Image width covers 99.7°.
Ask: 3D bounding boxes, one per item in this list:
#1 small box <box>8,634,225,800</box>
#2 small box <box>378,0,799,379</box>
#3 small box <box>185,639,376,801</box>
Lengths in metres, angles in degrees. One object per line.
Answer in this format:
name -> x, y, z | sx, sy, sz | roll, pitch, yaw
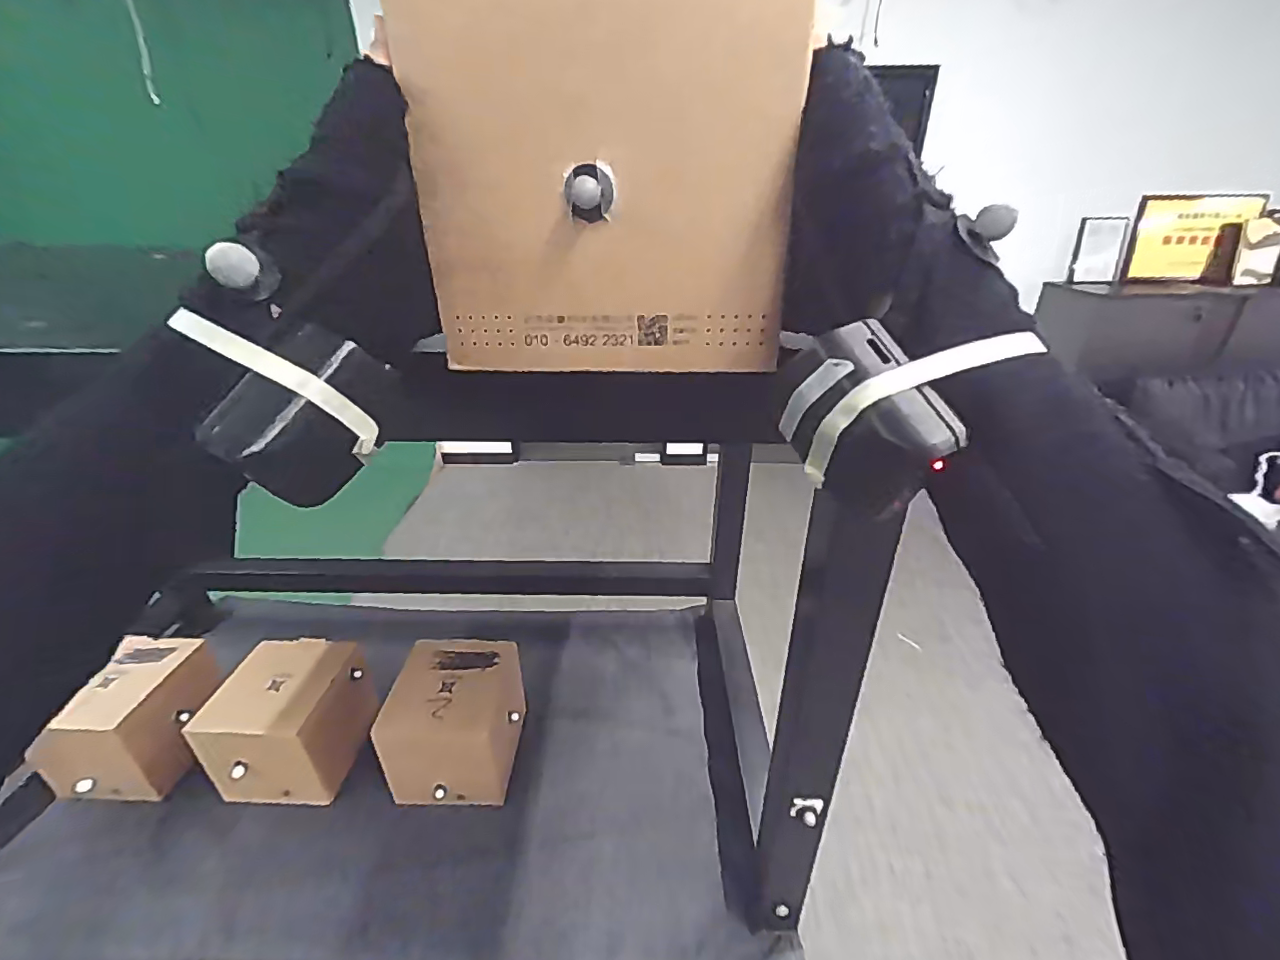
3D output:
small box -> -0.798, 0.370, 0.859 | 0.168, 0.176, 0.179 | 1, 29, 2
small box -> -0.013, -0.162, 0.308 | 0.168, 0.176, 0.179 | 2, 29, 3
small box -> -0.545, 0.376, 0.854 | 0.168, 0.176, 0.179 | 1, 28, 2
